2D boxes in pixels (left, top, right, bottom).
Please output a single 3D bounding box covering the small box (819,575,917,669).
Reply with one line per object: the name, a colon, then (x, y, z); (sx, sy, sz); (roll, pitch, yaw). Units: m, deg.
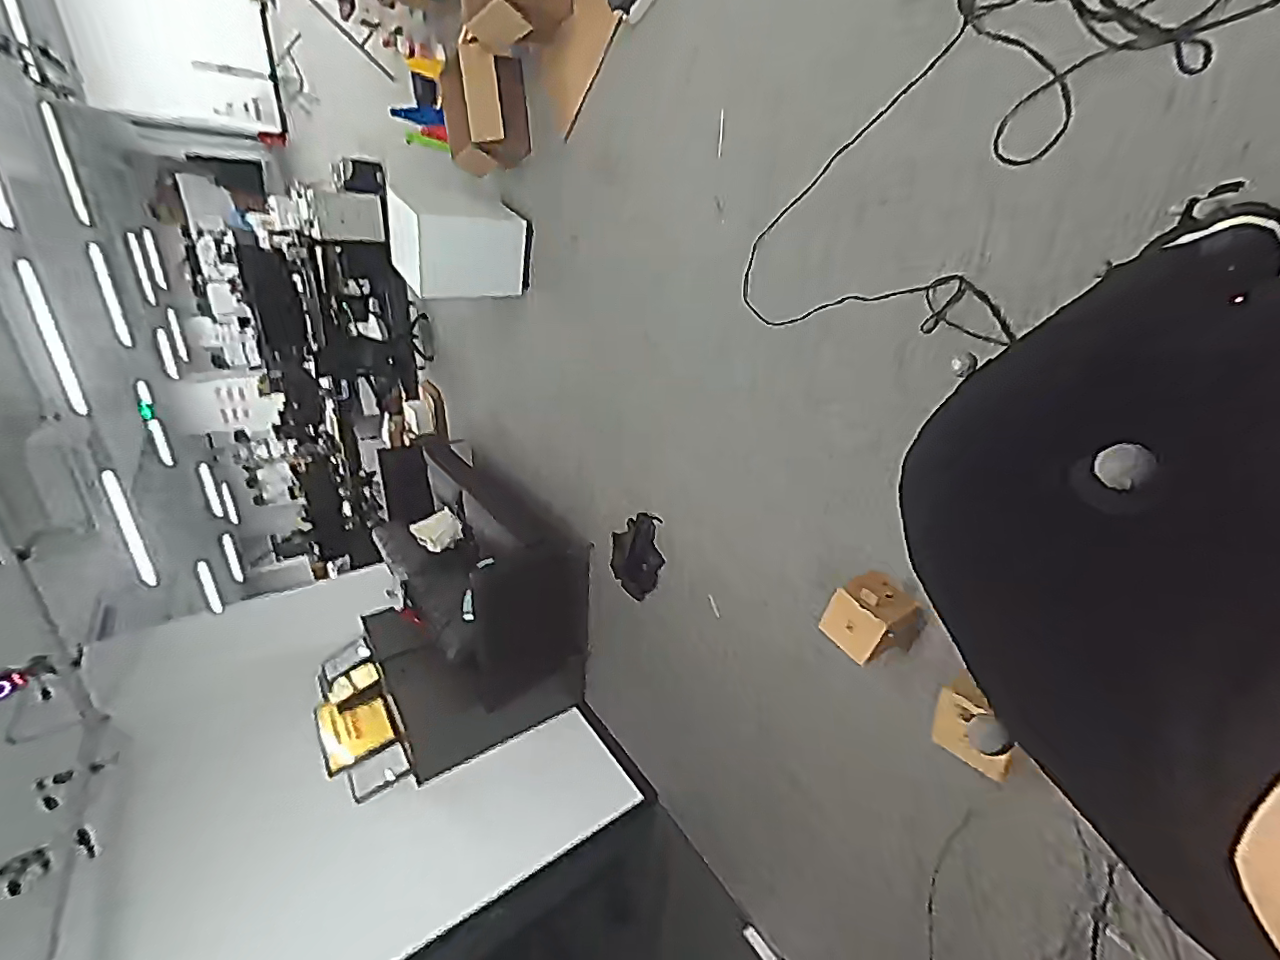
small box: (0.658, 0.405, 1.560); (0.168, 0.176, 0.179); (44, 135, 40)
